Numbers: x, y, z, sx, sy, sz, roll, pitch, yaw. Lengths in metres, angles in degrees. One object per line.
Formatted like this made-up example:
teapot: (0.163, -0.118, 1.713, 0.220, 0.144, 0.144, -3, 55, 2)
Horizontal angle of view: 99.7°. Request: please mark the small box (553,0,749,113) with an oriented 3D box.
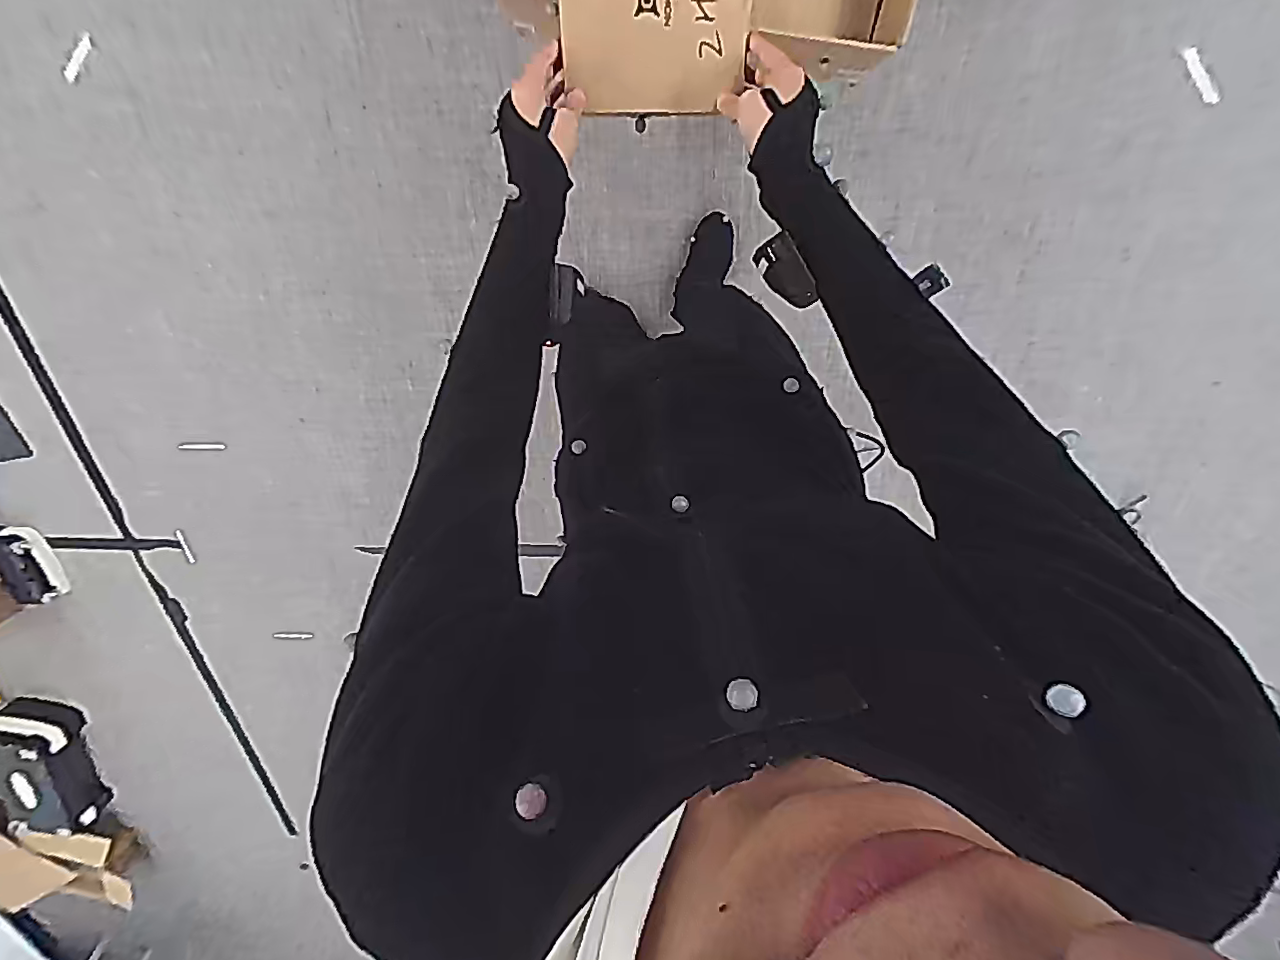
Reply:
small box: (0.005, -0.470, 0.540, 0.179, 0.176, 0.168, -2, 124, -4)
